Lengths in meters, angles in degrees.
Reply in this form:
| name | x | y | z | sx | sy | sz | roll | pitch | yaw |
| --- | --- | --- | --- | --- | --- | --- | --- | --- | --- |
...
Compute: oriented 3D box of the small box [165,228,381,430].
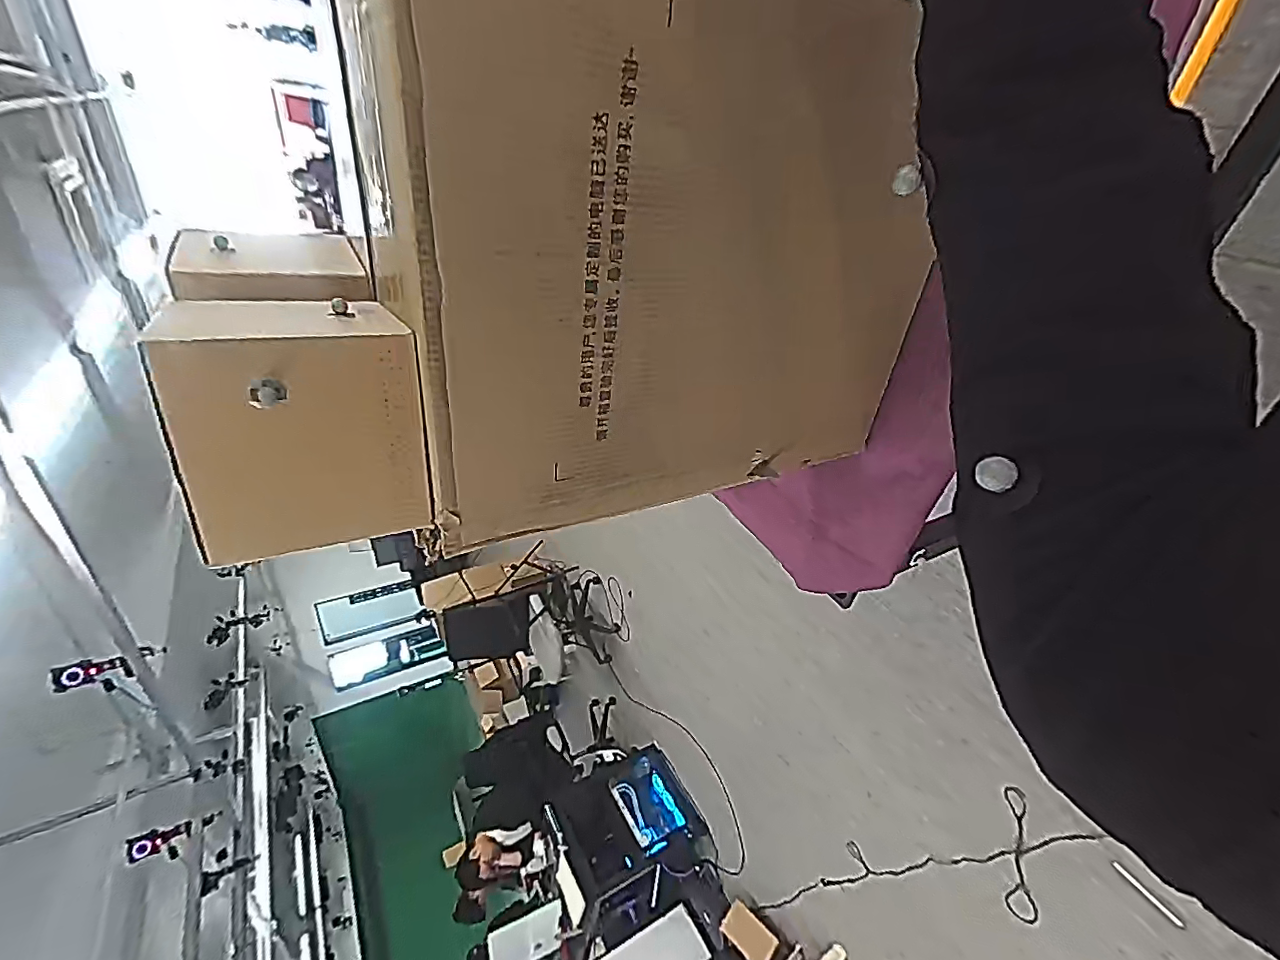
| name | x | y | z | sx | sy | sz | roll | pitch | yaw |
| --- | --- | --- | --- | --- | --- | --- | --- | --- | --- |
| small box | -0.404 | -0.180 | 0.620 | 0.179 | 0.176 | 0.168 | 48 | 139 | 42 |
